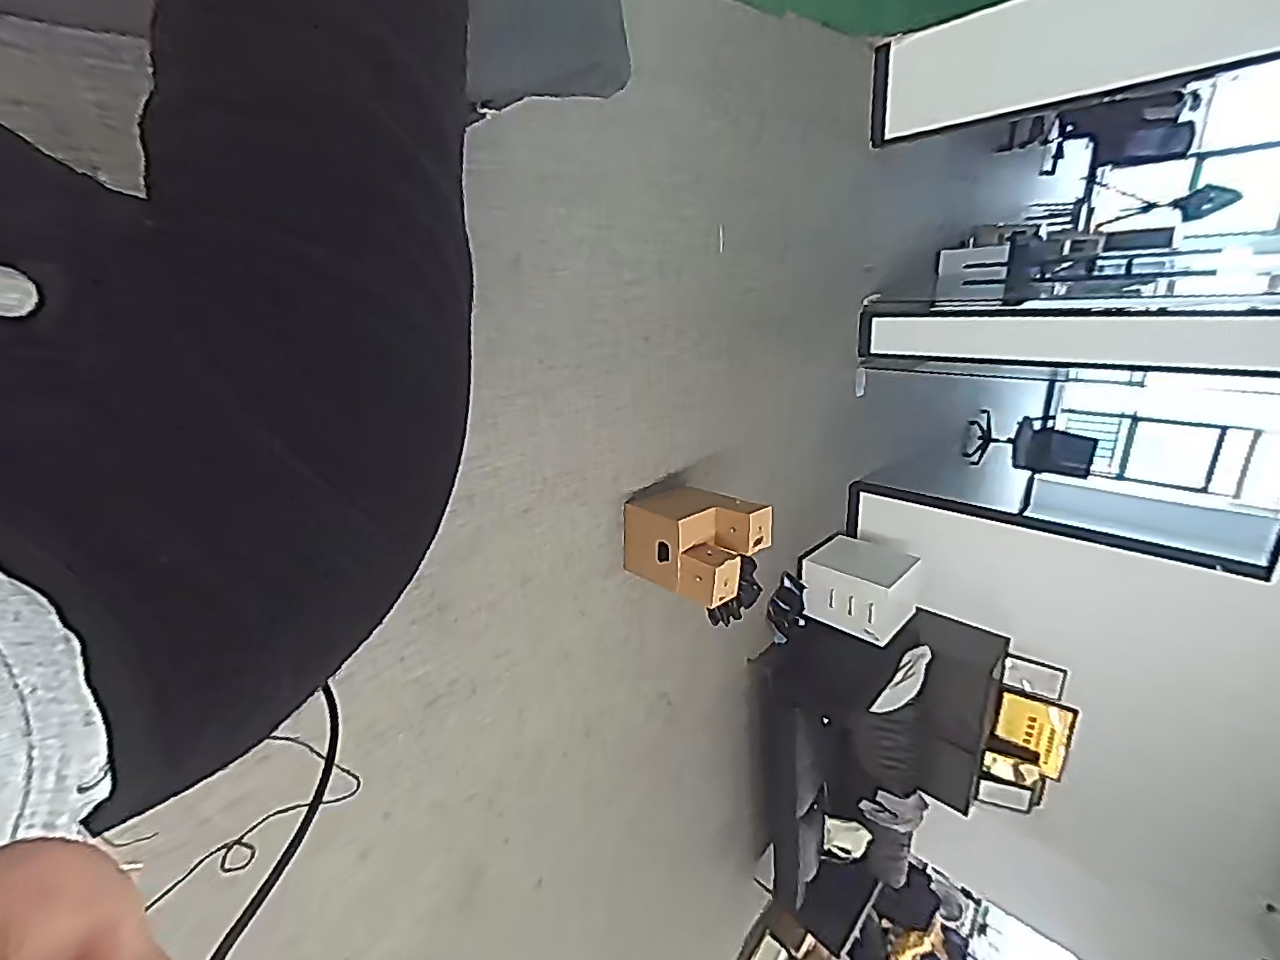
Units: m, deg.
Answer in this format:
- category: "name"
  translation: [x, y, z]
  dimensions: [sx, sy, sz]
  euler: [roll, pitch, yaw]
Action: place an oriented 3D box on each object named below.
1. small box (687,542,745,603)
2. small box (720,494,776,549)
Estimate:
- category: "small box"
  translation: [0.299, 0.359, 2.146]
  dimensions: [0.168, 0.176, 0.179]
  euler: [-16, 113, -44]
- category: "small box"
  translation: [0.448, 0.170, 2.254]
  dimensions: [0.168, 0.176, 0.179]
  euler: [-15, 108, -44]
